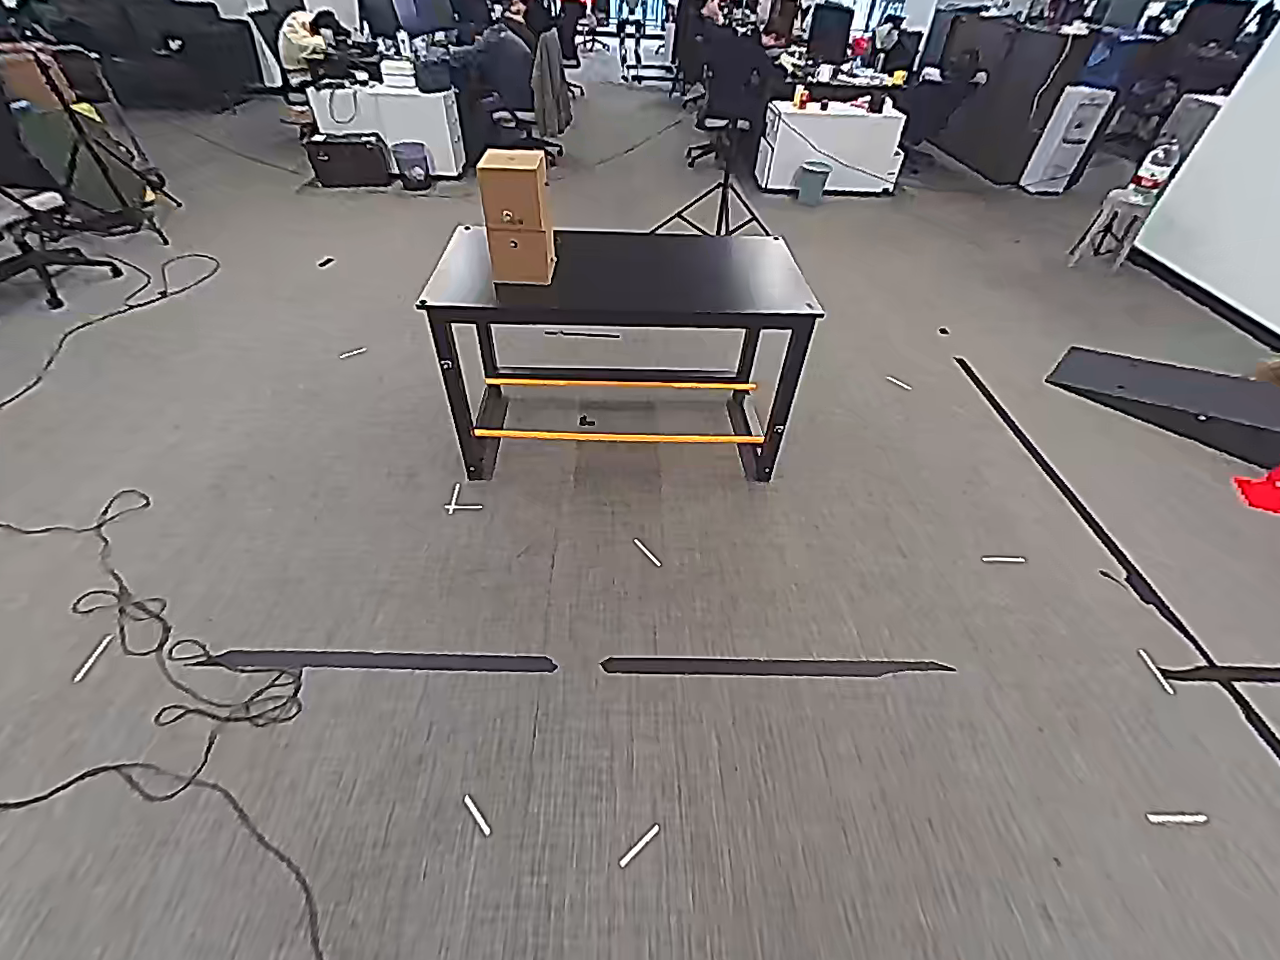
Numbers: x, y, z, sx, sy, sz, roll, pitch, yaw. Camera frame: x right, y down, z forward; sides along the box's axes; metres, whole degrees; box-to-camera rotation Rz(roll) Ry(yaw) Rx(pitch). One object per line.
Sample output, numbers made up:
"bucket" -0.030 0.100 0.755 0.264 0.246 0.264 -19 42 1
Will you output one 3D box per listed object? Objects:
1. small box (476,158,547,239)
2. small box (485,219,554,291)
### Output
"small box" -0.368 -0.824 1.583 0.168 0.176 0.179 0 45 -2
"small box" -0.372 -0.709 1.698 0.179 0.176 0.168 2 44 -3
